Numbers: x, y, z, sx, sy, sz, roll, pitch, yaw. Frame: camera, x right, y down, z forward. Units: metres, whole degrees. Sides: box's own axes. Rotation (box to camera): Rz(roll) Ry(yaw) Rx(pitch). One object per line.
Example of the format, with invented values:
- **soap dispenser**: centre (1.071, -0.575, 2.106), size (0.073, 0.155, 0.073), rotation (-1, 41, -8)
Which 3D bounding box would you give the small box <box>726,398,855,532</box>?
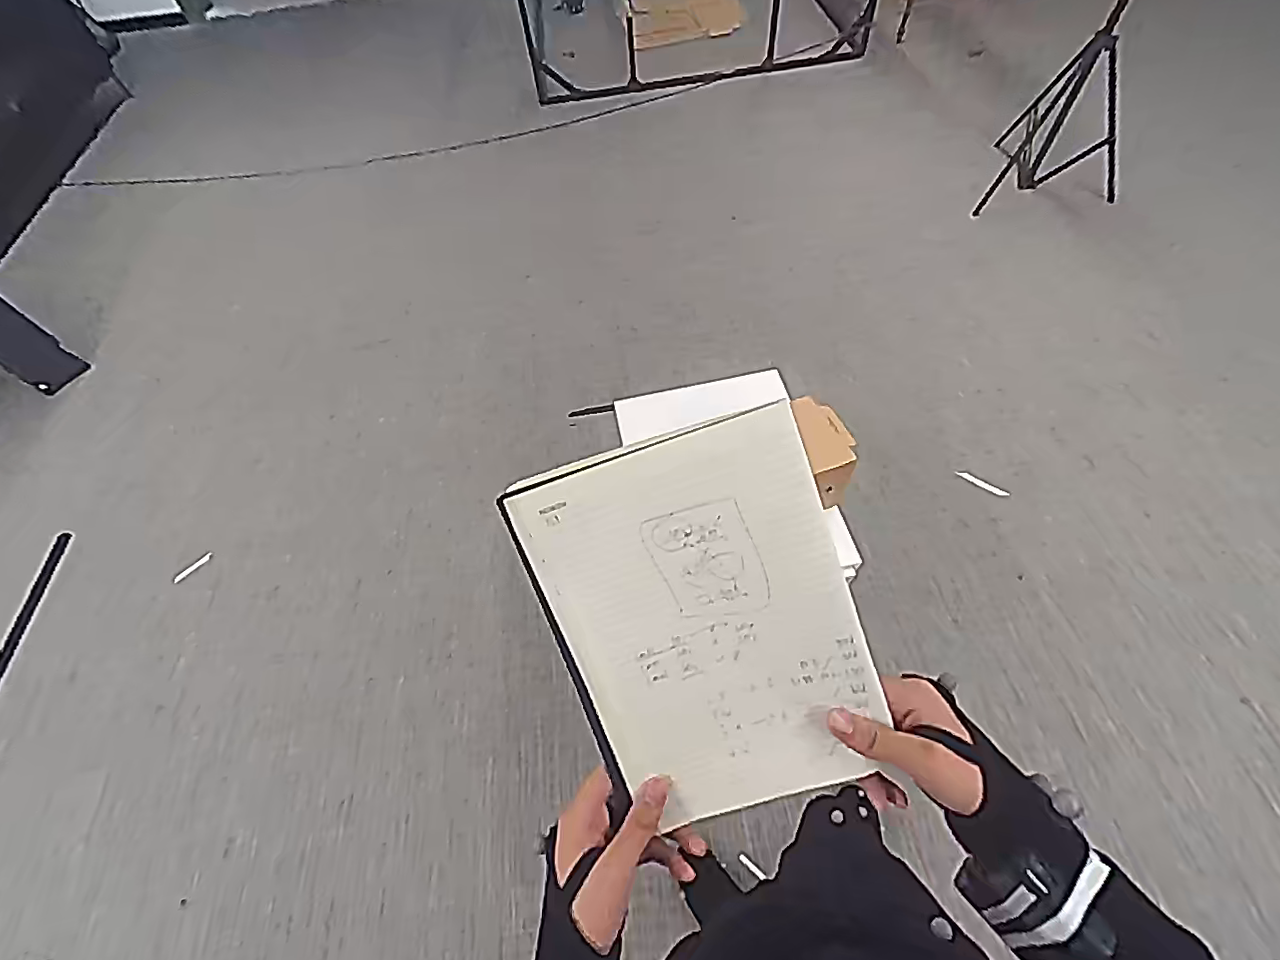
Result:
- **small box**: centre (0.279, -0.024, 1.050), size (0.179, 0.176, 0.168), rotation (-19, 58, -6)
